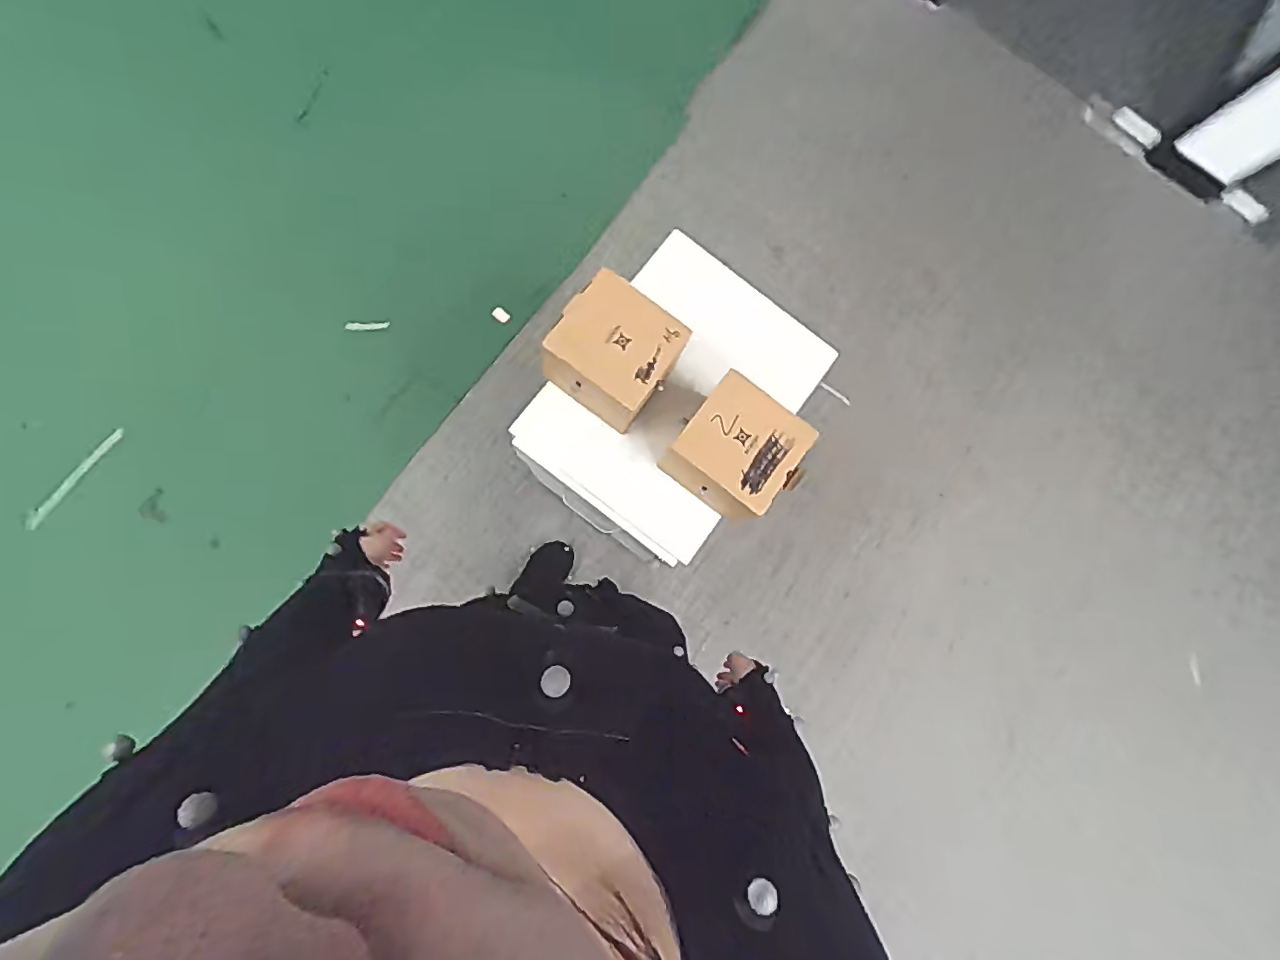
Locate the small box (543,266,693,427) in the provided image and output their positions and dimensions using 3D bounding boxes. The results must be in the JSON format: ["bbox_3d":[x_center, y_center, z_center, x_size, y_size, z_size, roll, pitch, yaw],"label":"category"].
[{"bbox_3d":[-0.042,-0.209,0.904,0.179,0.176,0.168,37,80,-2],"label":"small box"}]
